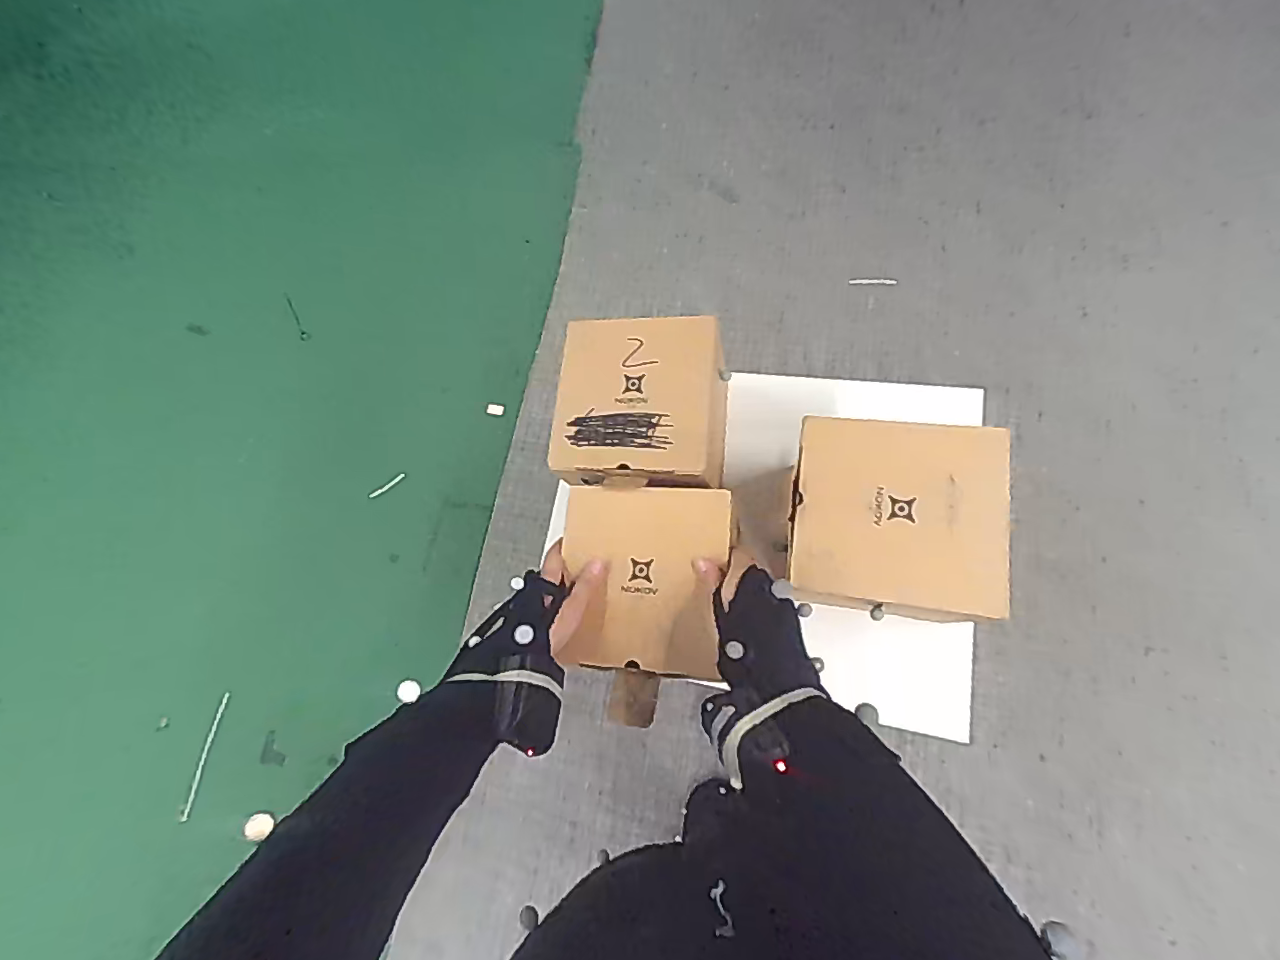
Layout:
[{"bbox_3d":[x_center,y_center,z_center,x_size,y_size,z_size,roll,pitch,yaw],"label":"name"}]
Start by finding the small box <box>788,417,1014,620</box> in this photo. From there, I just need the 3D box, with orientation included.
[{"bbox_3d":[0.247,0.046,0.548,0.179,0.176,0.168,6,77,15],"label":"small box"}]
